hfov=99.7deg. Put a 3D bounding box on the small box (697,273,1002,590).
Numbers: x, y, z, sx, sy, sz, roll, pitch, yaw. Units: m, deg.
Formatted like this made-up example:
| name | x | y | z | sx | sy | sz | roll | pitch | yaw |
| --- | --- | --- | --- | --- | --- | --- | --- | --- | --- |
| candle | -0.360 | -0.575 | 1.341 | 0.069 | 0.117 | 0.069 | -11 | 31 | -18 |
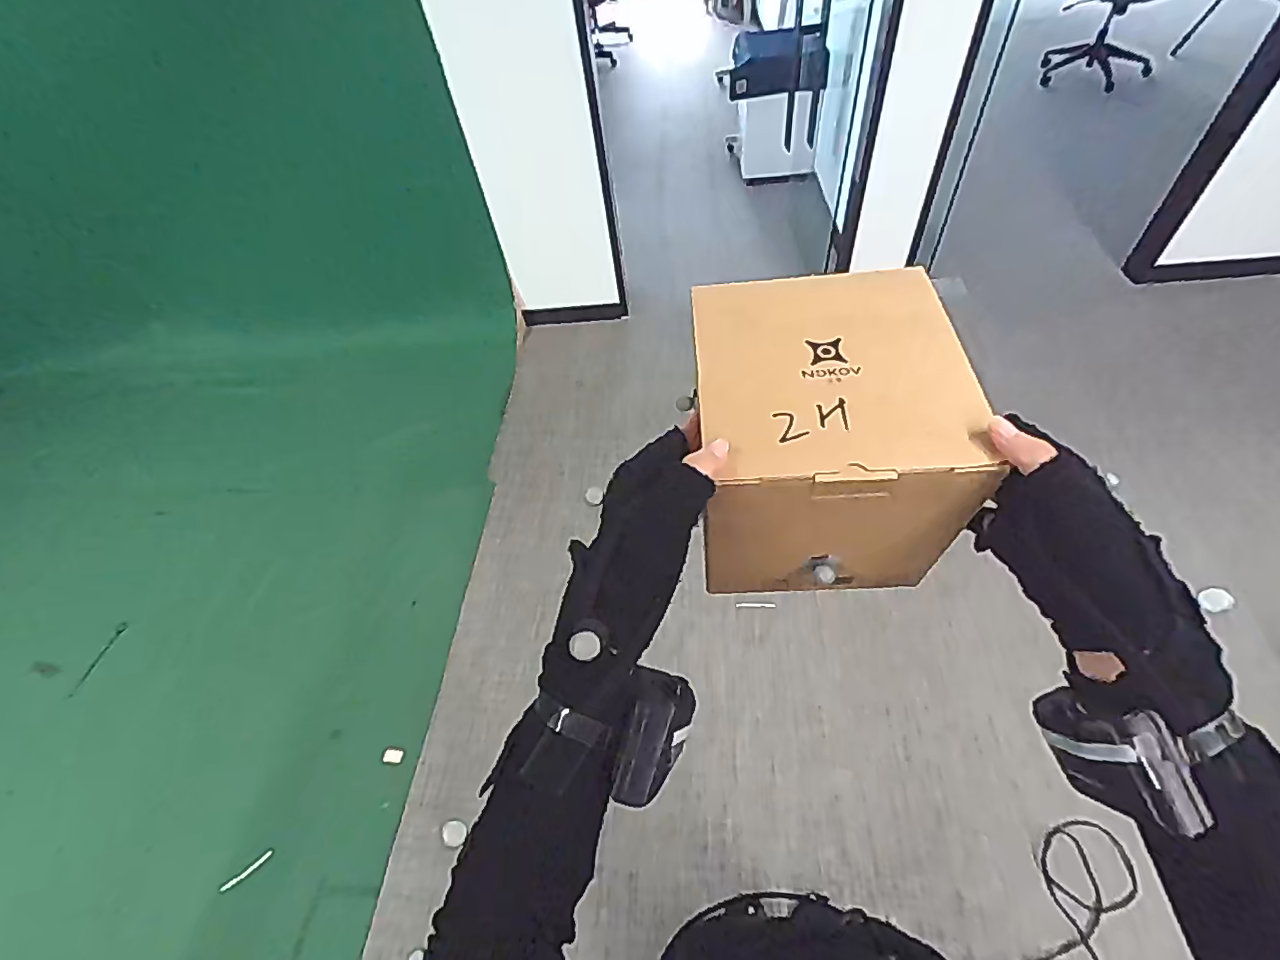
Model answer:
| name | x | y | z | sx | sy | sz | roll | pitch | yaw |
| --- | --- | --- | --- | --- | --- | --- | --- | --- | --- |
| small box | 0.128 | -0.030 | 0.416 | 0.168 | 0.176 | 0.179 | -3 | 56 | 6 |
